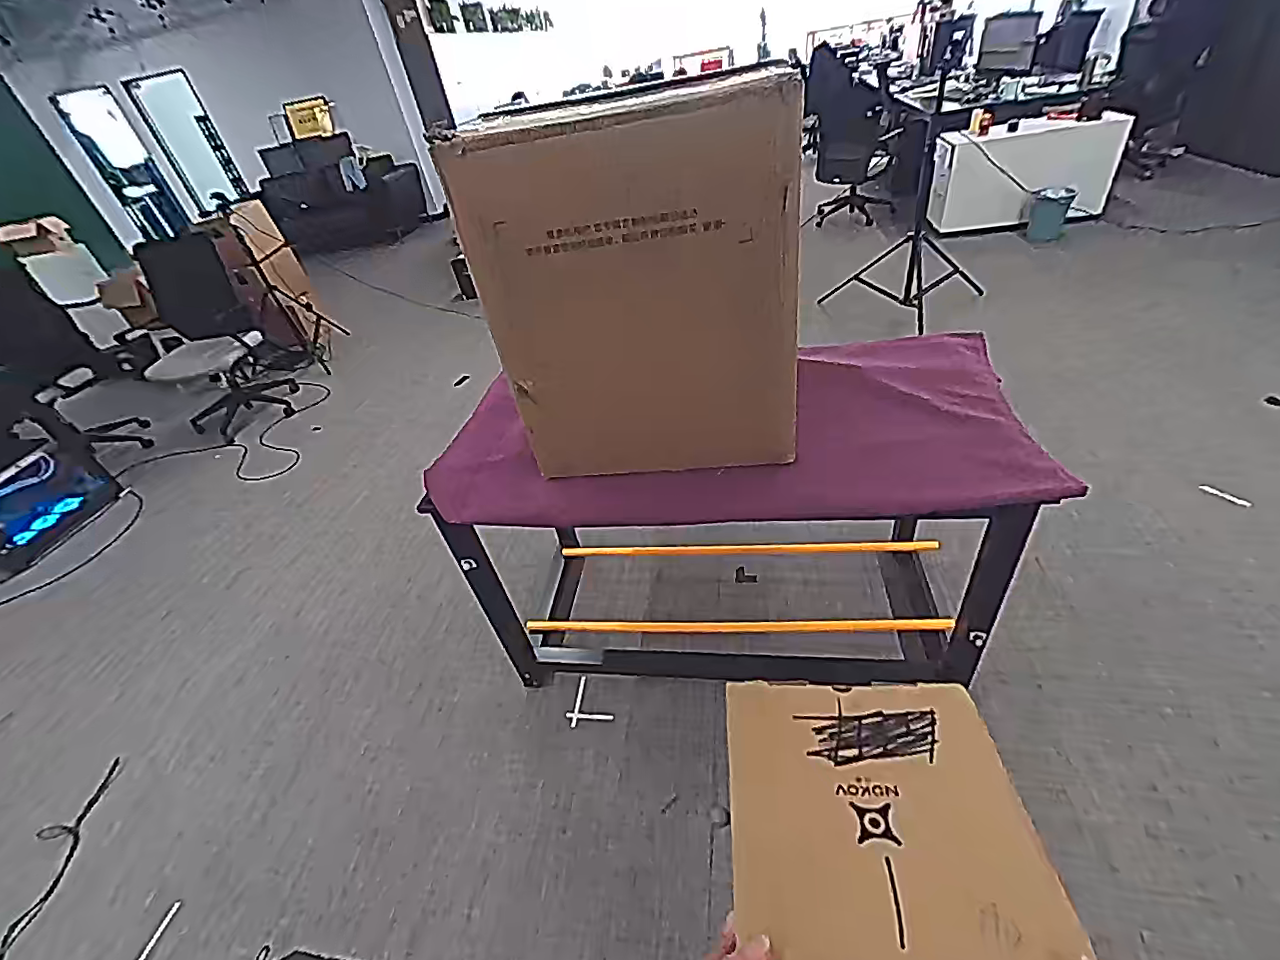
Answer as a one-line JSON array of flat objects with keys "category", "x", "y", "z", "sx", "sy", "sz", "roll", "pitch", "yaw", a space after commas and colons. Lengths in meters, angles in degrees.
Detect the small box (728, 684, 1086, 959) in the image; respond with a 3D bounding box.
[{"category": "small box", "x": 0.144, "y": 0.263, "z": 0.360, "sx": 0.168, "sy": 0.176, "sz": 0.179, "roll": -3, "pitch": 31, "yaw": 9}]
